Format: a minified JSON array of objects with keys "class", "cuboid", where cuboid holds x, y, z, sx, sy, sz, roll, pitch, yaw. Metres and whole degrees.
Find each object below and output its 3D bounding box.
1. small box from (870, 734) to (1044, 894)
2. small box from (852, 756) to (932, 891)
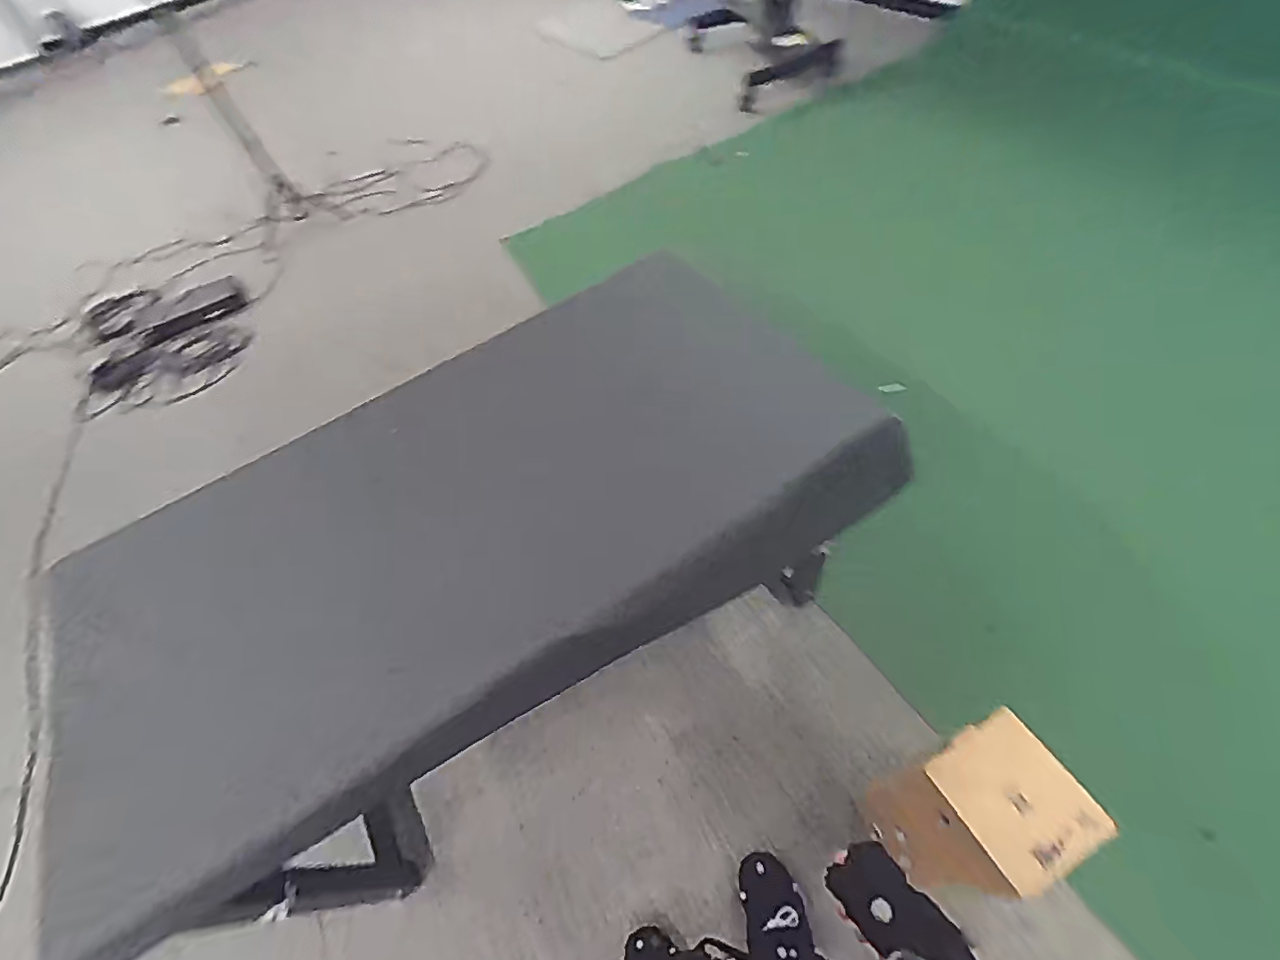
[{"class":"small box","cuboid":[0.529,0.574,0.935,0.179,0.176,0.168,-28,55,-10]},{"class":"small box","cuboid":[0.548,0.670,1.068,0.179,0.176,0.168,-29,55,-9]}]
